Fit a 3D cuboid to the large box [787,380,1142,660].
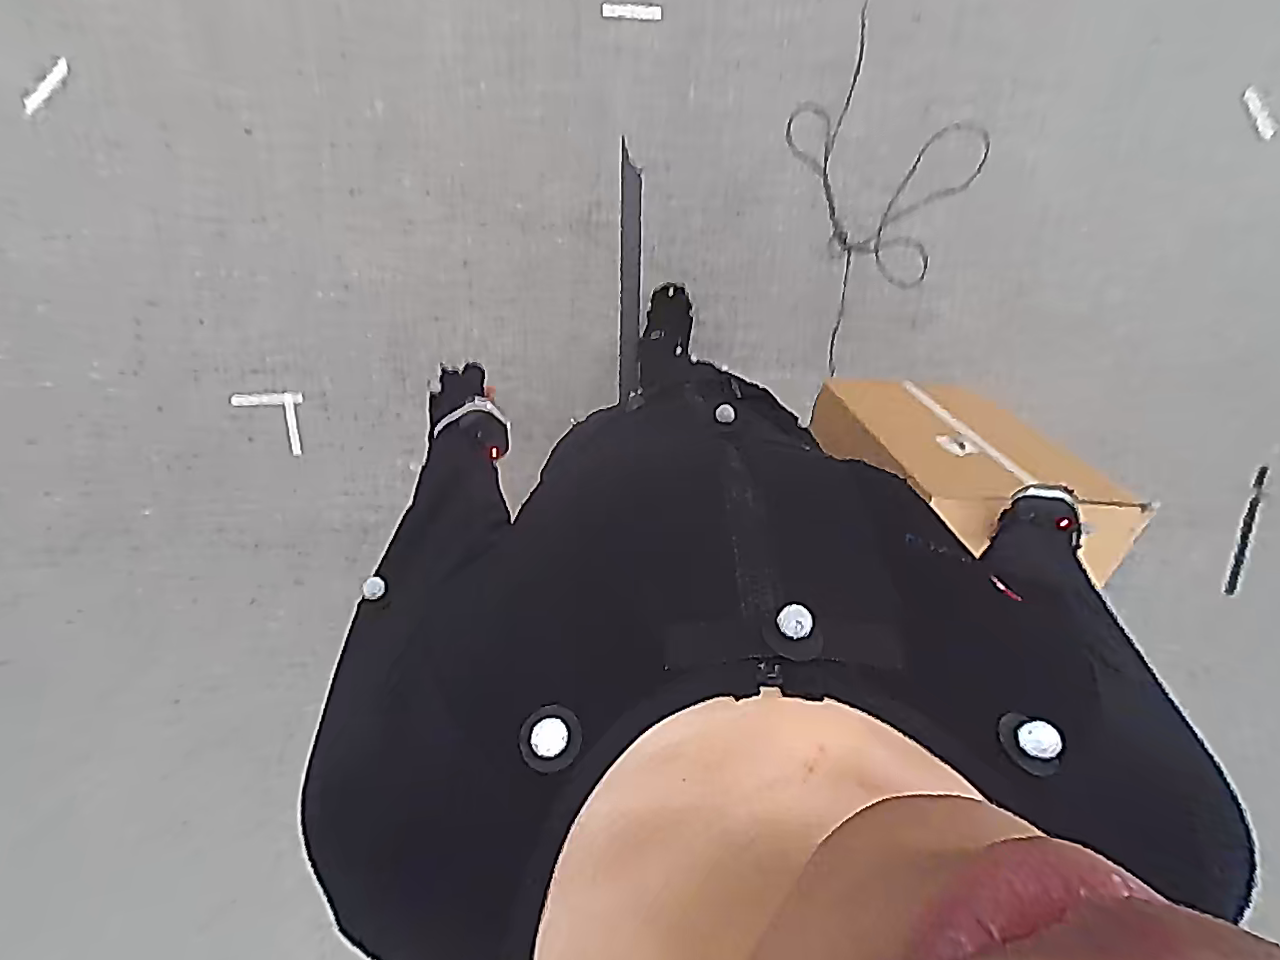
[{"bbox_3d":[0.496,0.054,0.953,0.320,0.408,0.320,3,122,-6],"label":"large box"}]
